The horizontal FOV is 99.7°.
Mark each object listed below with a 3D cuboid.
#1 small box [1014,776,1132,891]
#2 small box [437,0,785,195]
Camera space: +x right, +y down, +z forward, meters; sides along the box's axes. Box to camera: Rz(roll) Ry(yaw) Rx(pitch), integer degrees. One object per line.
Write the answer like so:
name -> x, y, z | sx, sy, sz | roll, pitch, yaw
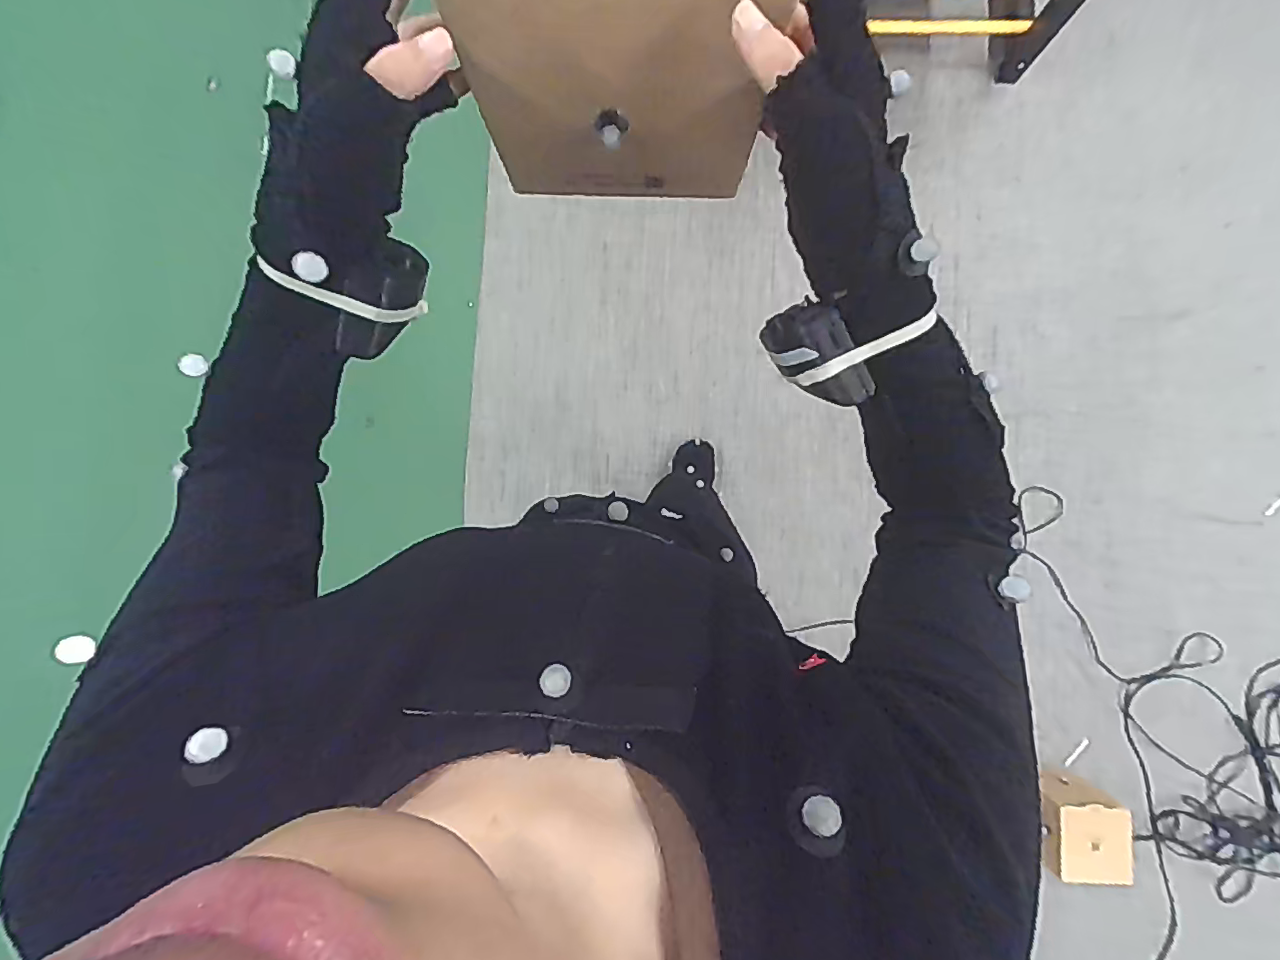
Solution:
small box -> 1.057, 0.863, 1.331 | 0.168, 0.176, 0.179 | 1, 86, 1
small box -> -0.008, -0.298, 0.324 | 0.168, 0.176, 0.179 | 2, 87, 0
